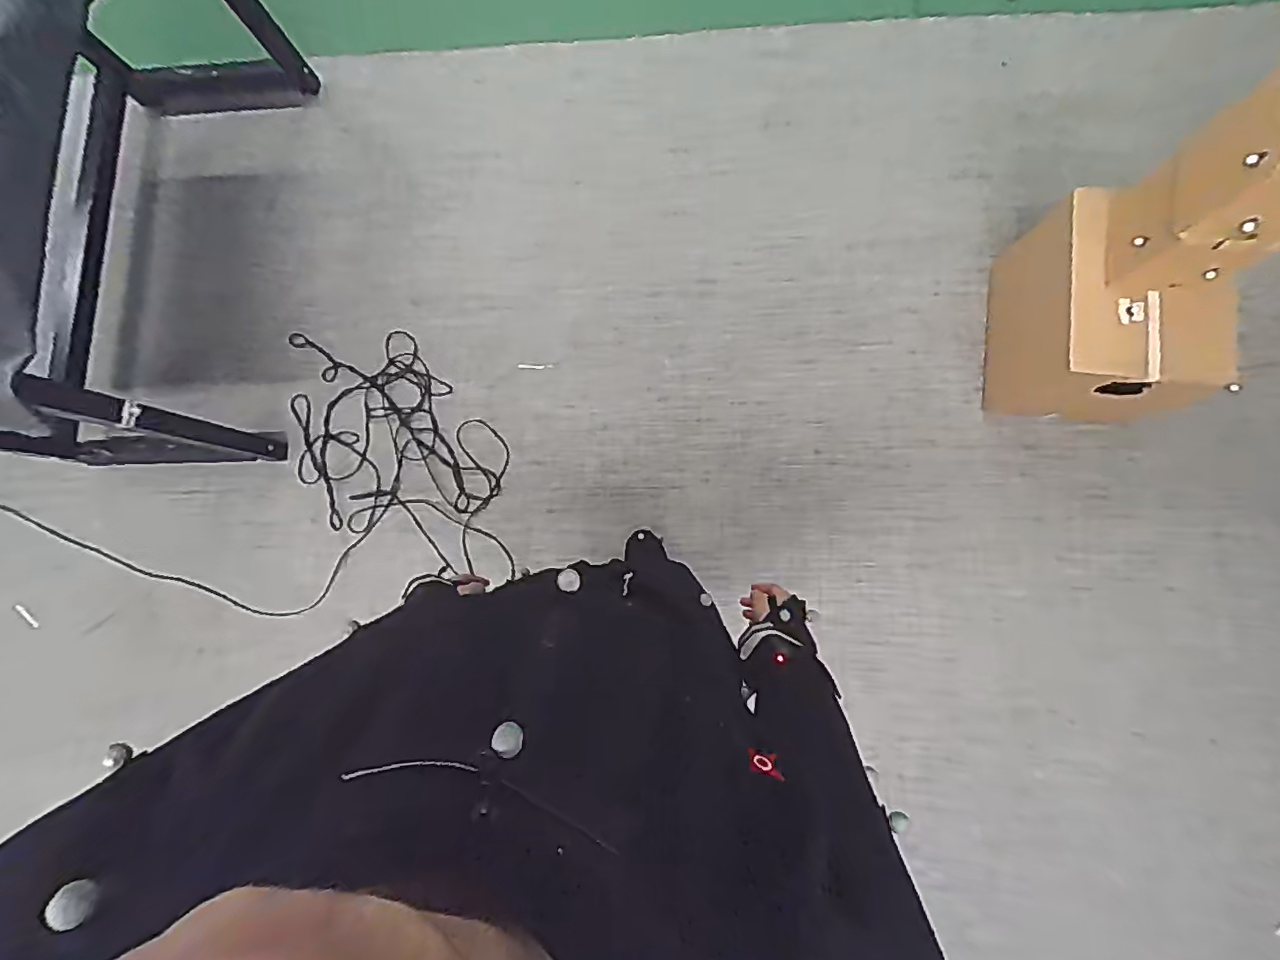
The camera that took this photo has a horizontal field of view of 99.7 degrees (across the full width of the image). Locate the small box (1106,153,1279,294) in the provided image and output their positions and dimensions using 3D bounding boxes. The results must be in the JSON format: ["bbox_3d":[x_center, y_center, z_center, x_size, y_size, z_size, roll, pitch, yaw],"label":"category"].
[{"bbox_3d":[1.016,-0.467,1.007,0.168,0.176,0.179,6,82,4],"label":"small box"}]

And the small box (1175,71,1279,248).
[{"bbox_3d":[1.000,-0.496,0.847,0.168,0.176,0.179,8,84,4],"label":"small box"}]

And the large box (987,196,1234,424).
[{"bbox_3d":[1.038,-0.366,1.236,0.320,0.320,0.408,6,84,6],"label":"large box"}]
